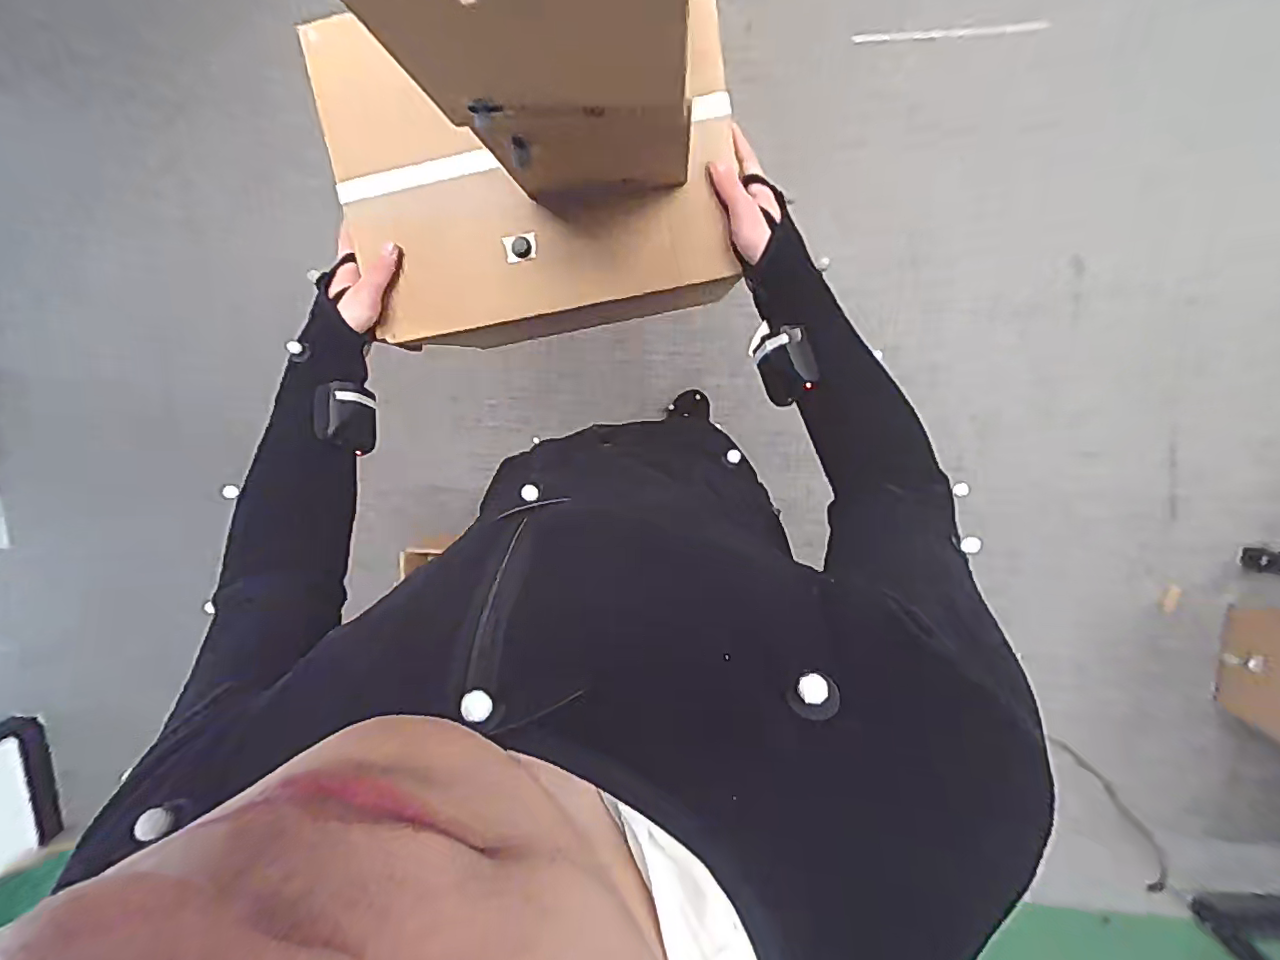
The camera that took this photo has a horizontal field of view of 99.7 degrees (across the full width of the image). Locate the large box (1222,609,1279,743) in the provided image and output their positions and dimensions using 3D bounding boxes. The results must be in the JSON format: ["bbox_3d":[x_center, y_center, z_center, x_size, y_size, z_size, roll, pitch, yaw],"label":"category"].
[{"bbox_3d":[1.843,0.528,1.367,0.408,0.320,0.320,0,100,5],"label":"large box"}]

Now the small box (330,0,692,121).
[{"bbox_3d":[-0.055,-0.309,0.274,0.168,0.176,0.179,1,101,3],"label":"small box"}]
